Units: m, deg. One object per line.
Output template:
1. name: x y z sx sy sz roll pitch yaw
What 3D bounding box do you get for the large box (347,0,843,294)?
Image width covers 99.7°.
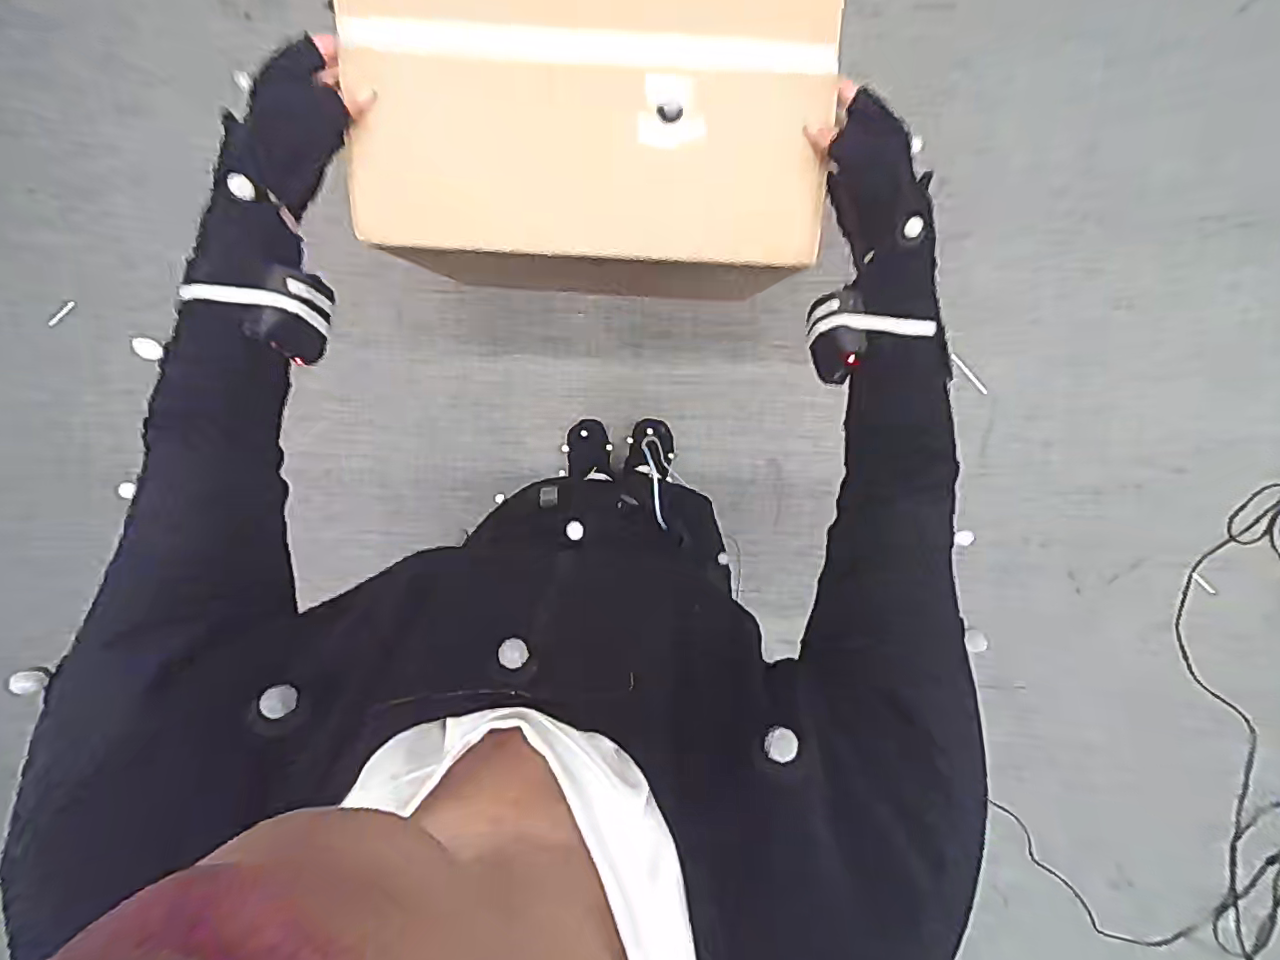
1. large box: -0.041 -0.384 0.582 0.408 0.320 0.320 2 103 -2
